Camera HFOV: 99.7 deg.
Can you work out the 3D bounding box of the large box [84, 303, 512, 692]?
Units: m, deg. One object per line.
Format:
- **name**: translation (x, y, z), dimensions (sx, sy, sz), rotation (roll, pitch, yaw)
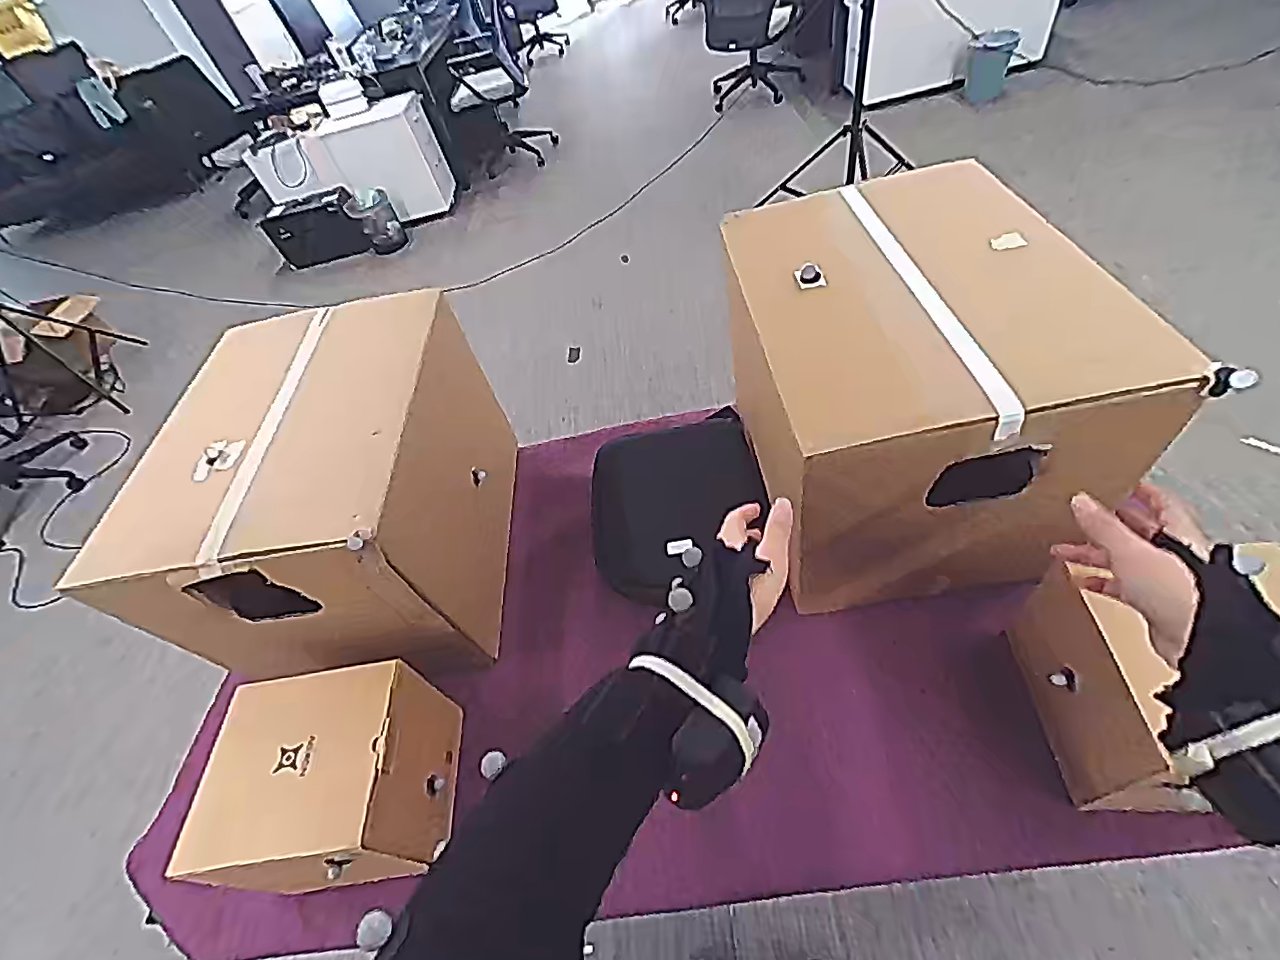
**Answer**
- **large box**: translation (-0.377, 0.026, 0.738), dimensions (0.320, 0.320, 0.408), rotation (-10, 52, 5)
